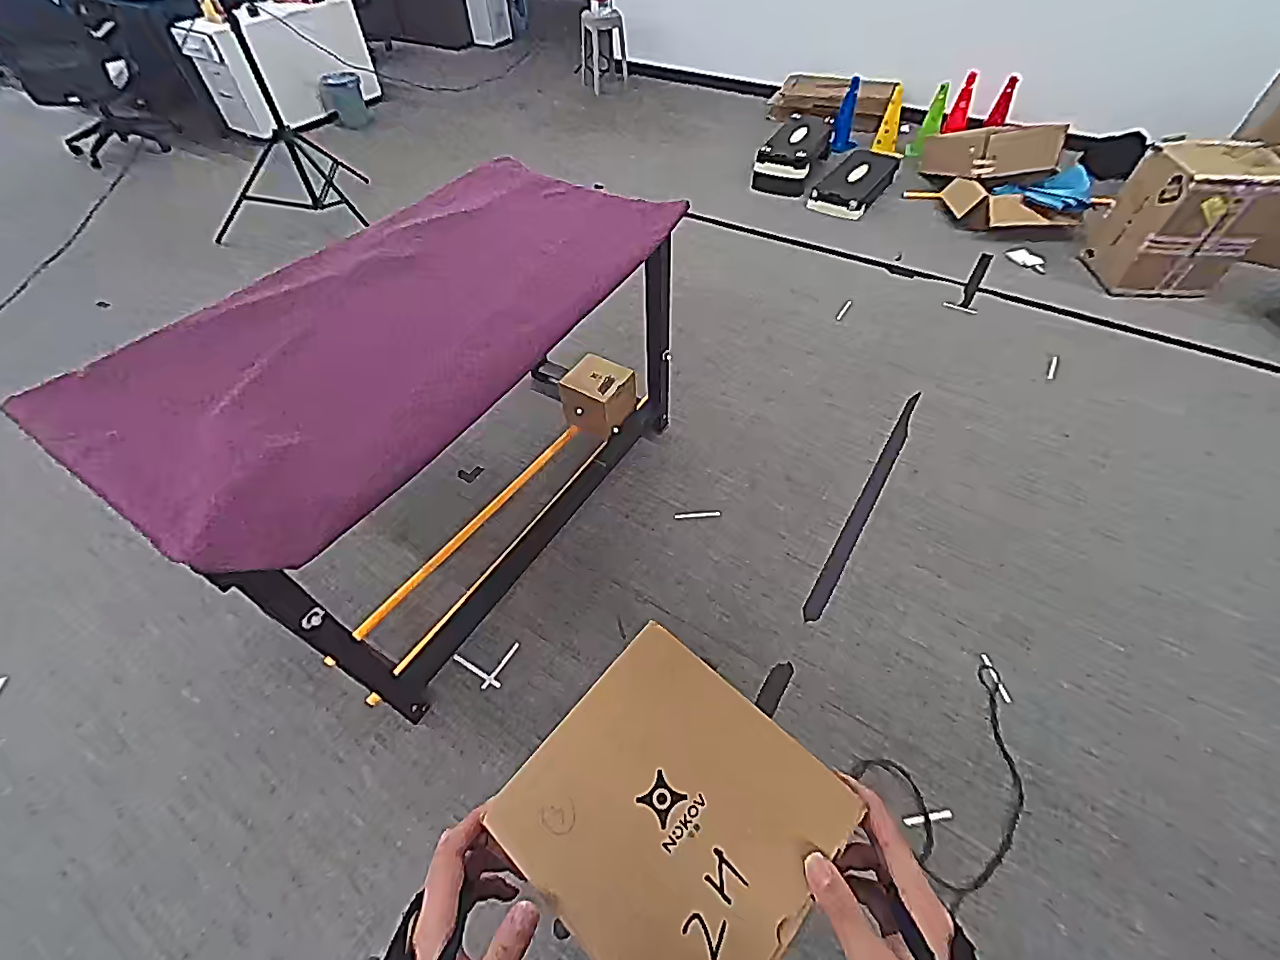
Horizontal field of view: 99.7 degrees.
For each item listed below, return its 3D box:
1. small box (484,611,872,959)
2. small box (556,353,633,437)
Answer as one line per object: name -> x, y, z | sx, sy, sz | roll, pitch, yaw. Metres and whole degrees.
small box -> 0.025, 0.232, 0.391 | 0.179, 0.176, 0.168 | 37, 69, 22
small box -> -0.134, -0.261, 1.694 | 0.179, 0.176, 0.168 | 26, 57, 21
